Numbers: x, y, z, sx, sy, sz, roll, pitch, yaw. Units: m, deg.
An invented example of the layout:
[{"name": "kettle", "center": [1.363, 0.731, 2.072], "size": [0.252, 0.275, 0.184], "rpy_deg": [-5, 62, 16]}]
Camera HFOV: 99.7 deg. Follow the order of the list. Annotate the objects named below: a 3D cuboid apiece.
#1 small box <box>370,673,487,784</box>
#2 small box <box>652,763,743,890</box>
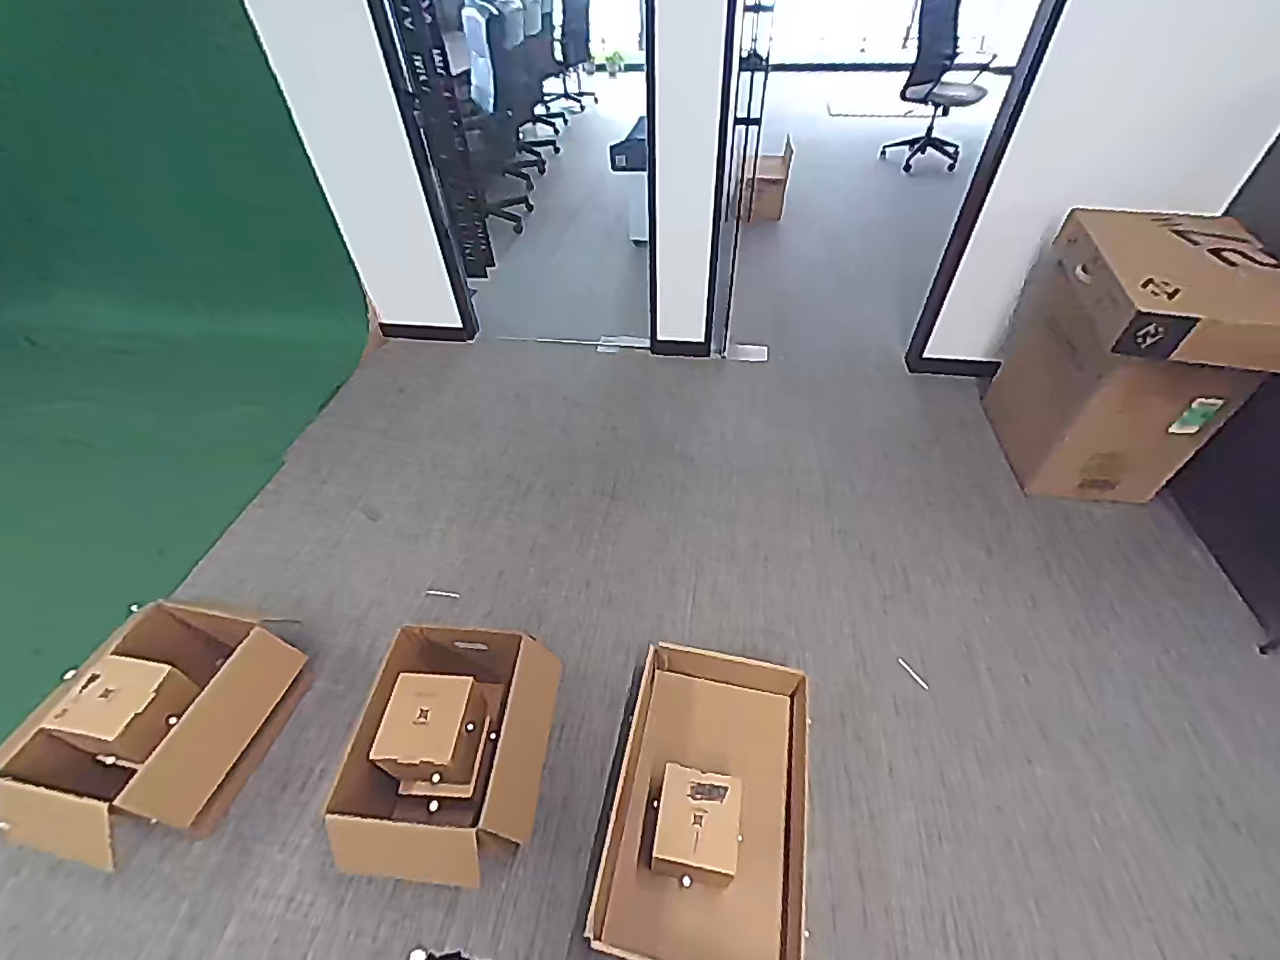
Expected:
[{"name": "small box", "center": [-0.443, 0.541, 1.171], "size": [0.168, 0.176, 0.179], "rpy_deg": [3, 48, 3]}, {"name": "small box", "center": [0.120, 0.737, 1.150], "size": [0.168, 0.176, 0.179], "rpy_deg": [8, 46, 8]}]
